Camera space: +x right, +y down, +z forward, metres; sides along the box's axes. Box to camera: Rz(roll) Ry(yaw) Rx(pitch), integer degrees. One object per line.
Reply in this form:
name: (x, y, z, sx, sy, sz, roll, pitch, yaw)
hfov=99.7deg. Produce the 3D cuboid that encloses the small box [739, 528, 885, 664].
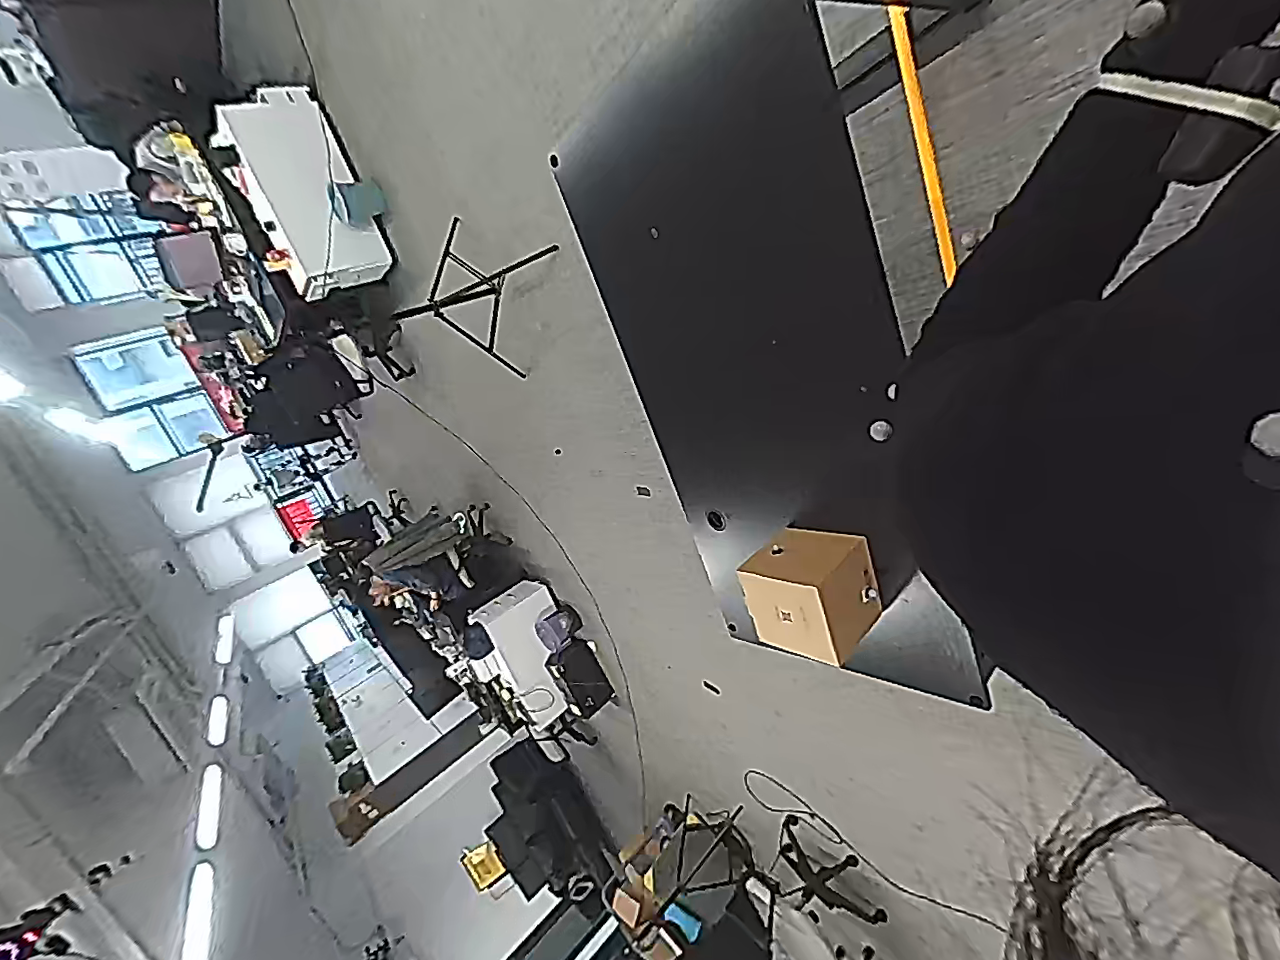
small box: (0.318, 0.202, 1.000, 0.179, 0.176, 0.168, 1, 118, 52)
